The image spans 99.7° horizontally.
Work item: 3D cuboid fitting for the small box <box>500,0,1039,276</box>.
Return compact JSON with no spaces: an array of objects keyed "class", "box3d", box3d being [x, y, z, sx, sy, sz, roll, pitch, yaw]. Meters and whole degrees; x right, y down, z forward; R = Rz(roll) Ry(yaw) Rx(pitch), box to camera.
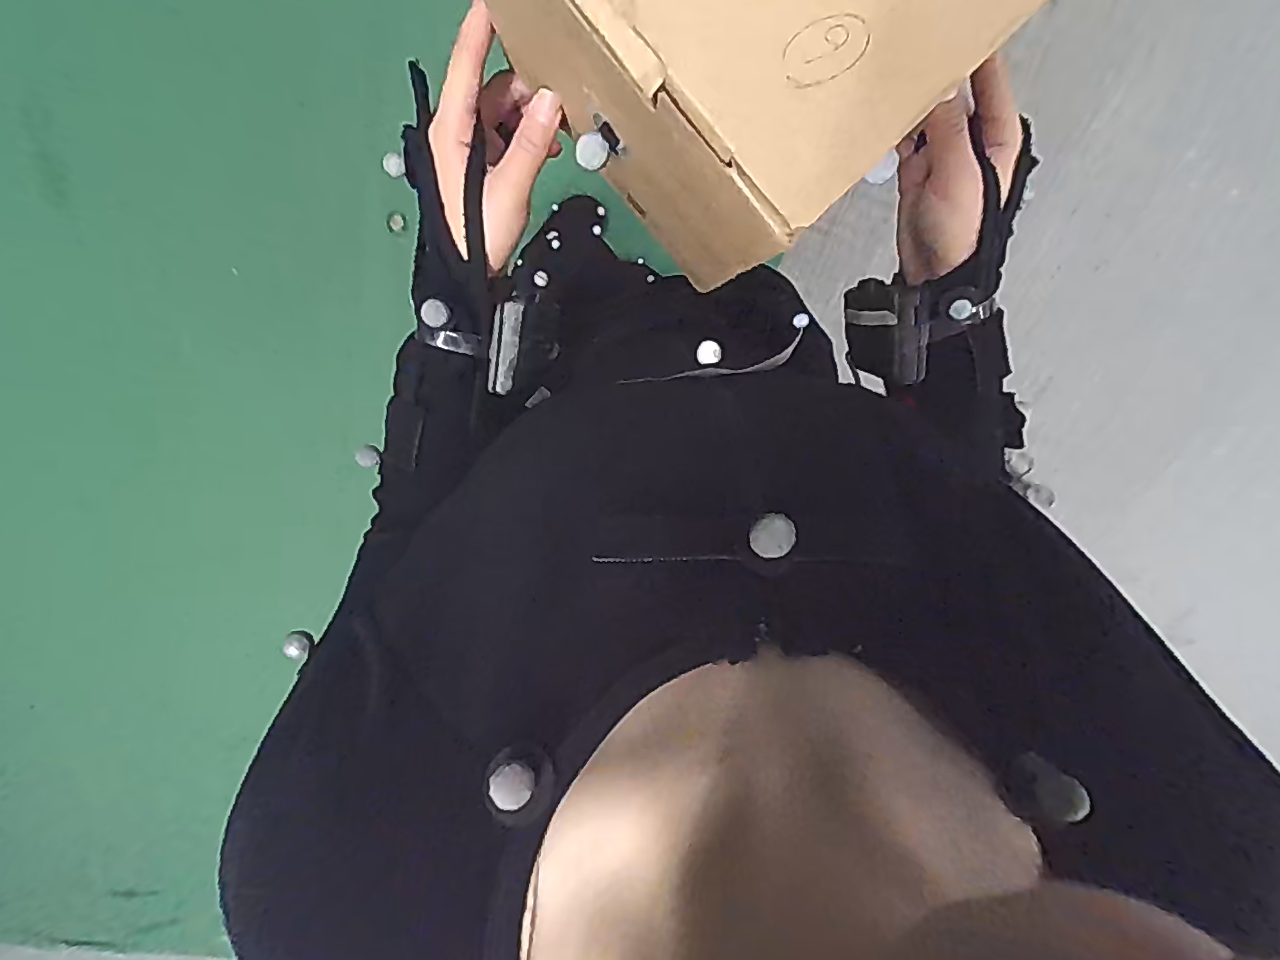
[{"class":"small box","box3d":[0.049,-0.207,0.218,0.179,0.176,0.168,-41,103,8]}]
